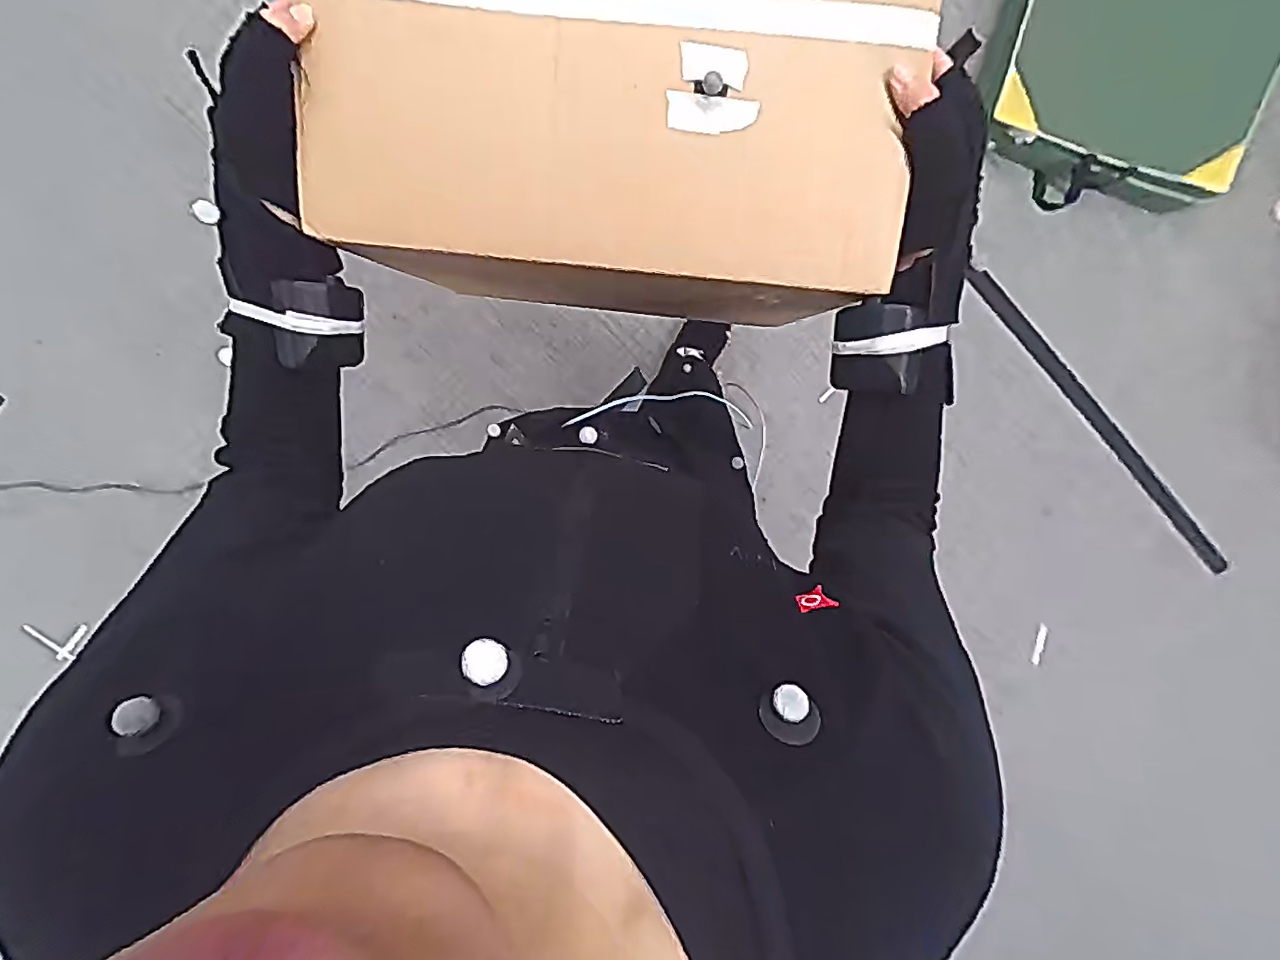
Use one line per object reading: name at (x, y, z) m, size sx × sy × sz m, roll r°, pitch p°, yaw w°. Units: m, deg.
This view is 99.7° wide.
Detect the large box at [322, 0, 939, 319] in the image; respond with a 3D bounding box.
large box at (-0.008, -0.336, 0.497) m, size 0.408 × 0.320 × 0.320 m, roll 6°, pitch 103°, yaw -1°
